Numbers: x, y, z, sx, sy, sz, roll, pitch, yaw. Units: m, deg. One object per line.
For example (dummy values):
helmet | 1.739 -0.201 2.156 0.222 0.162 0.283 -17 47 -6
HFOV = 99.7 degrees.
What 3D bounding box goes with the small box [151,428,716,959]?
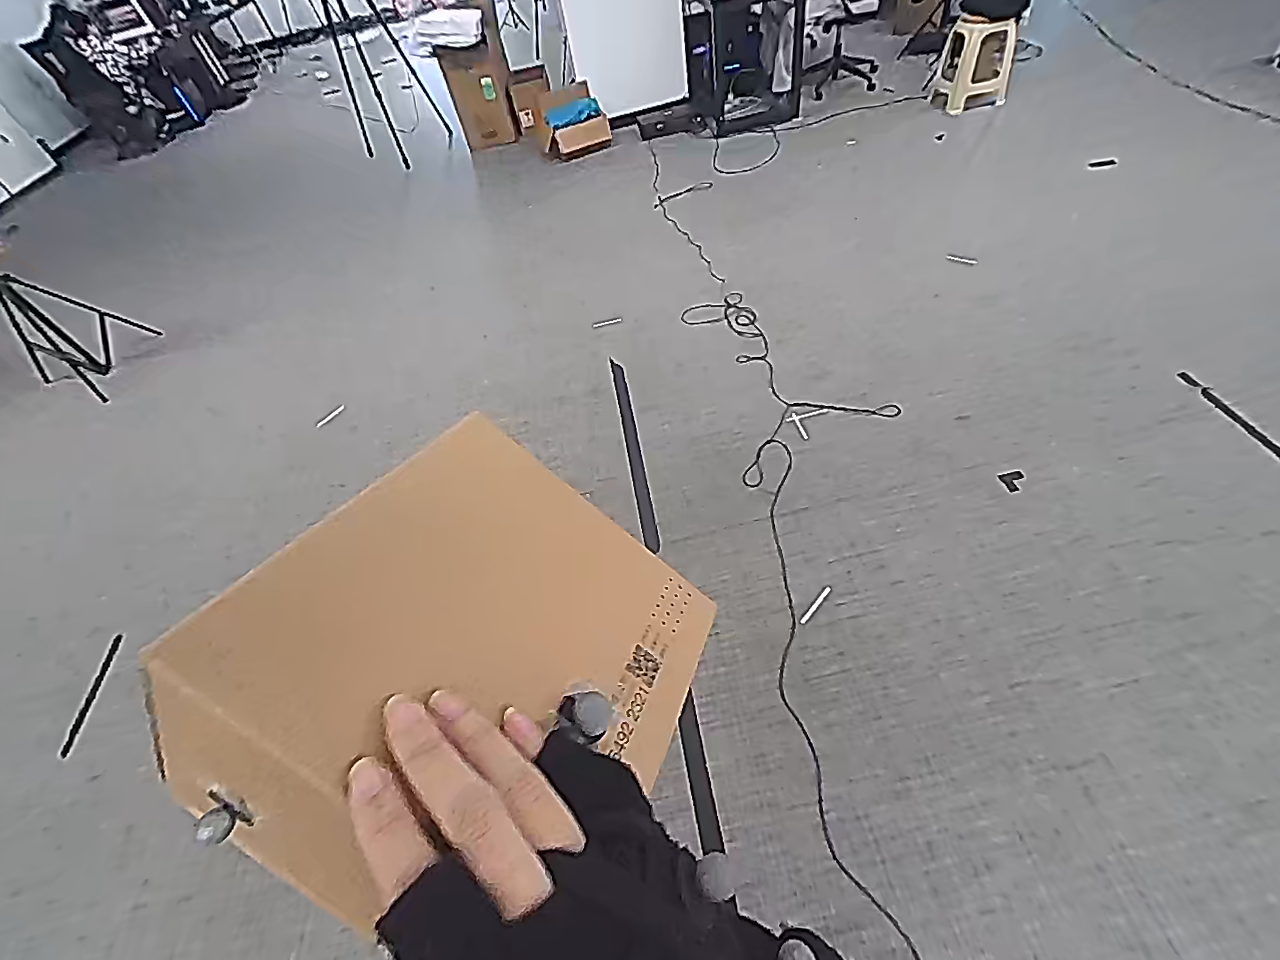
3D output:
small box | -0.091 0.114 0.279 0.176 0.179 0.168 38 40 -4
